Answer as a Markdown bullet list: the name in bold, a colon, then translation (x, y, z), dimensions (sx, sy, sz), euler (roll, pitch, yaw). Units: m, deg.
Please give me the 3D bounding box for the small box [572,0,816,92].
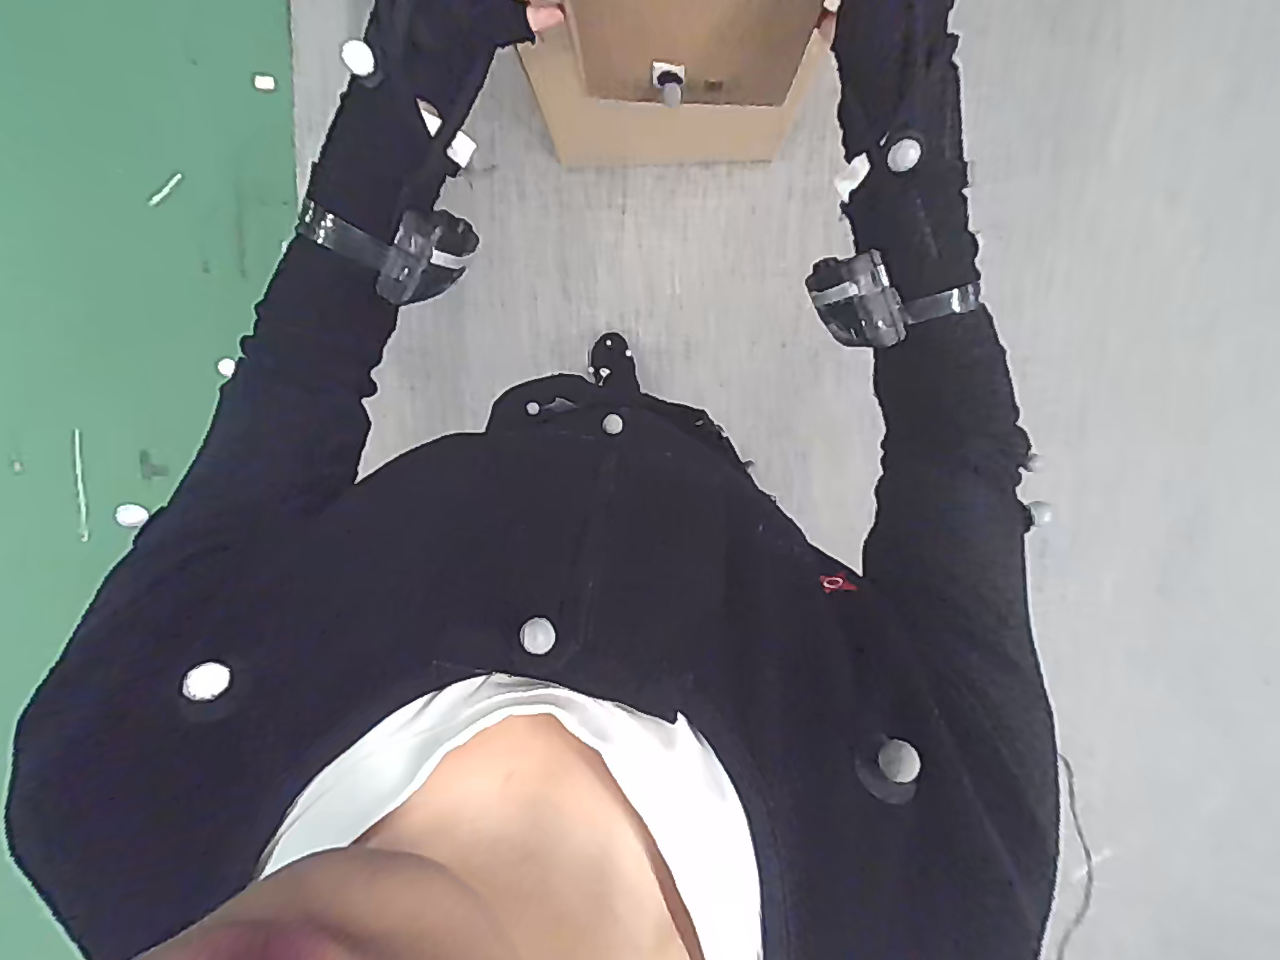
- **small box**: translation (0.037, -0.394, 0.347), dimensions (0.168, 0.176, 0.179), euler (3, 97, 2)
